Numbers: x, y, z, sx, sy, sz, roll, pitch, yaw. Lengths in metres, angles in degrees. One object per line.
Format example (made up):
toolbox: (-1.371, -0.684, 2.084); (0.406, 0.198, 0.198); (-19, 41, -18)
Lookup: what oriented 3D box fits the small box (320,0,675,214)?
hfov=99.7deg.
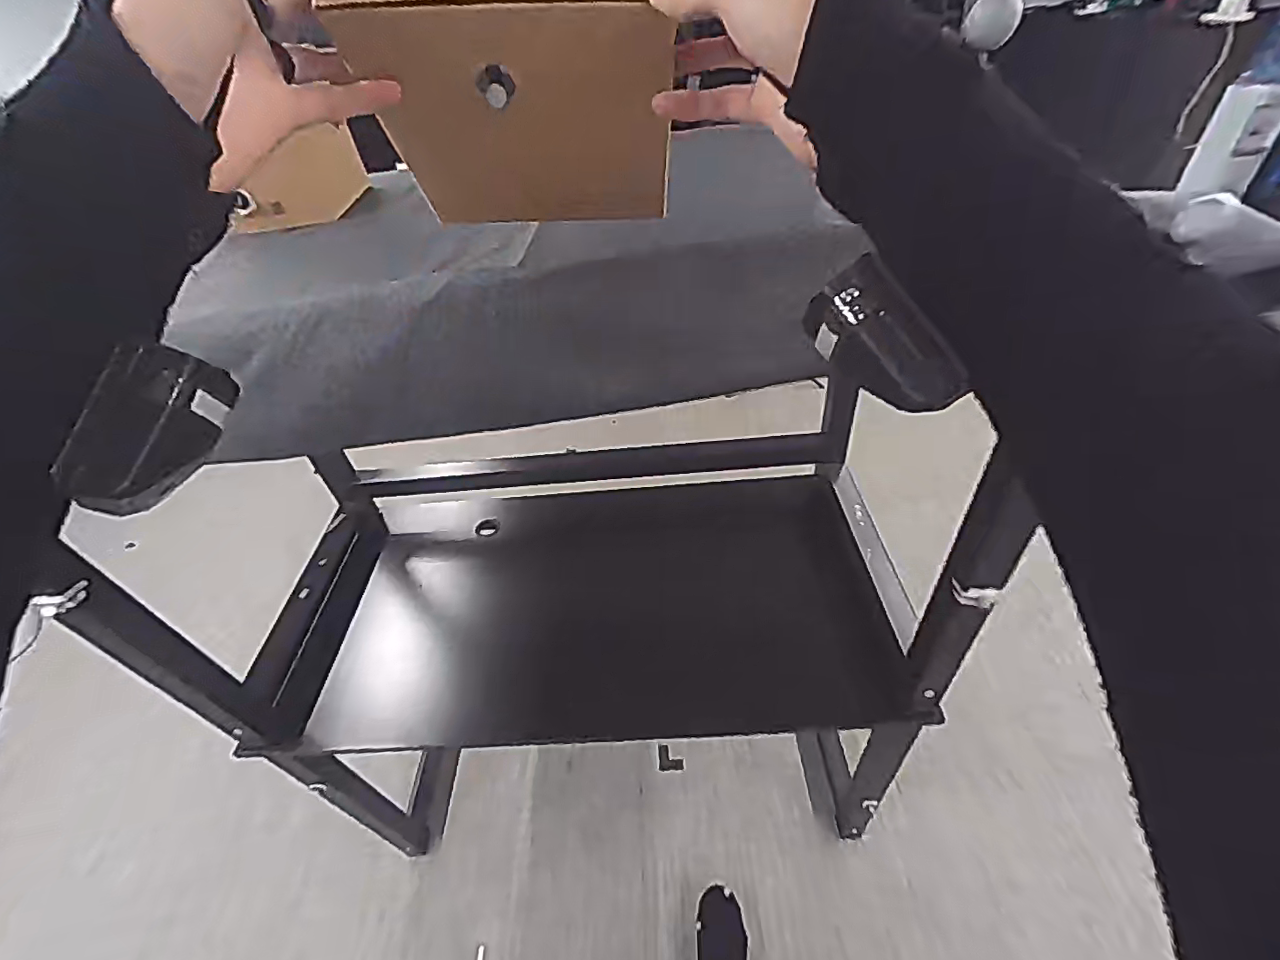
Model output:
small box: (-0.068, -0.294, 0.345); (0.179, 0.176, 0.168); (-1, 81, 0)

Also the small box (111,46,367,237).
small box: (-0.472, -0.423, 0.678); (0.168, 0.176, 0.179); (-9, 42, 0)
